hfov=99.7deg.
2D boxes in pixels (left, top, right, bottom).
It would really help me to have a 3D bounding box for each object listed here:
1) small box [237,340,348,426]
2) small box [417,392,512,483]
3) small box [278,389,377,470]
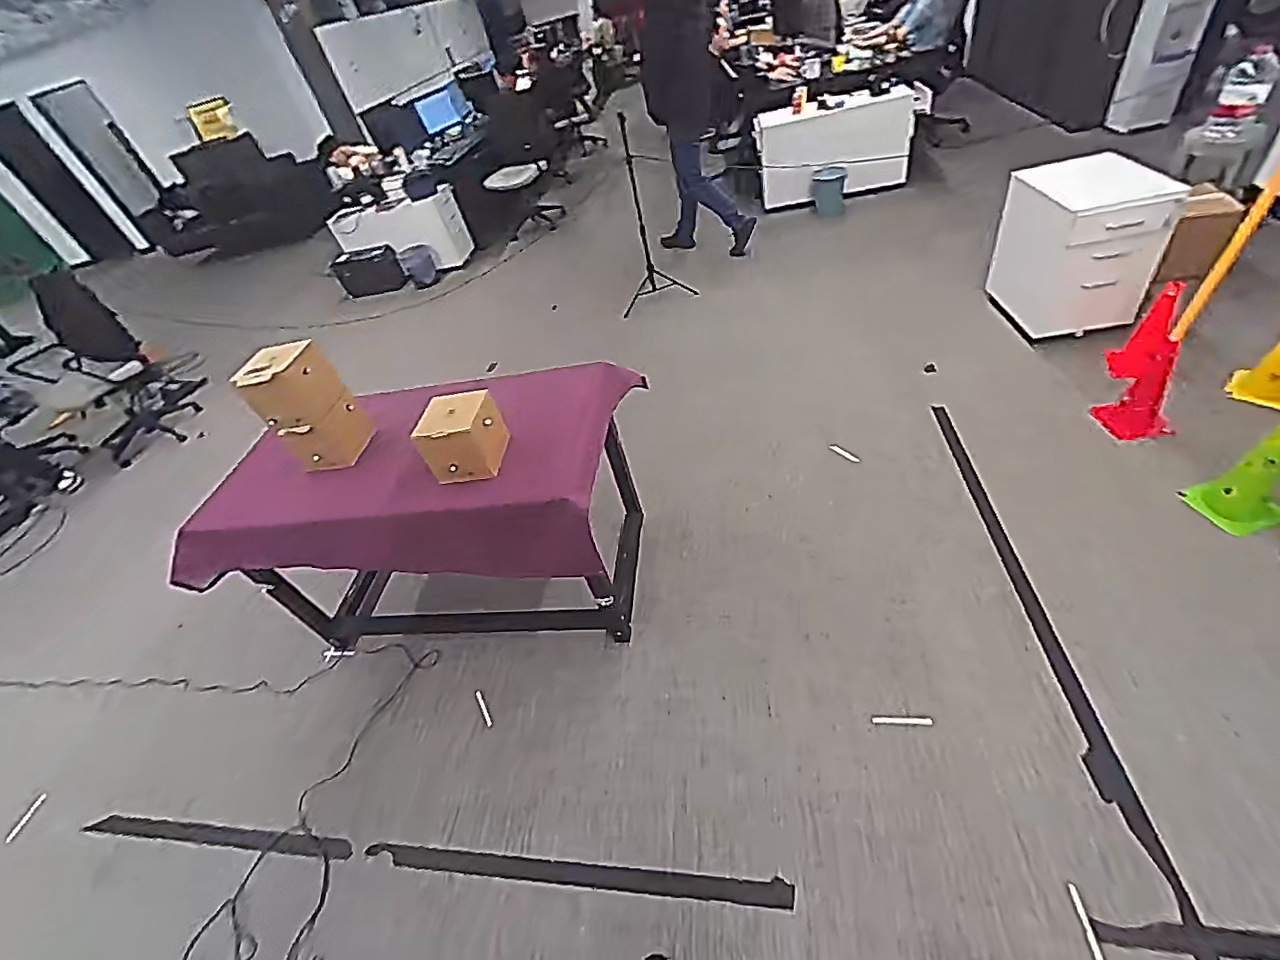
[{"bbox_3d":[-0.972,-0.267,1.533,0.168,0.176,0.179,-8,42,9],"label":"small box"},{"bbox_3d":[-0.463,-0.114,1.459,0.168,0.176,0.179,-6,44,11],"label":"small box"},{"bbox_3d":[-0.936,-0.151,1.643,0.168,0.176,0.179,-5,44,13],"label":"small box"}]
